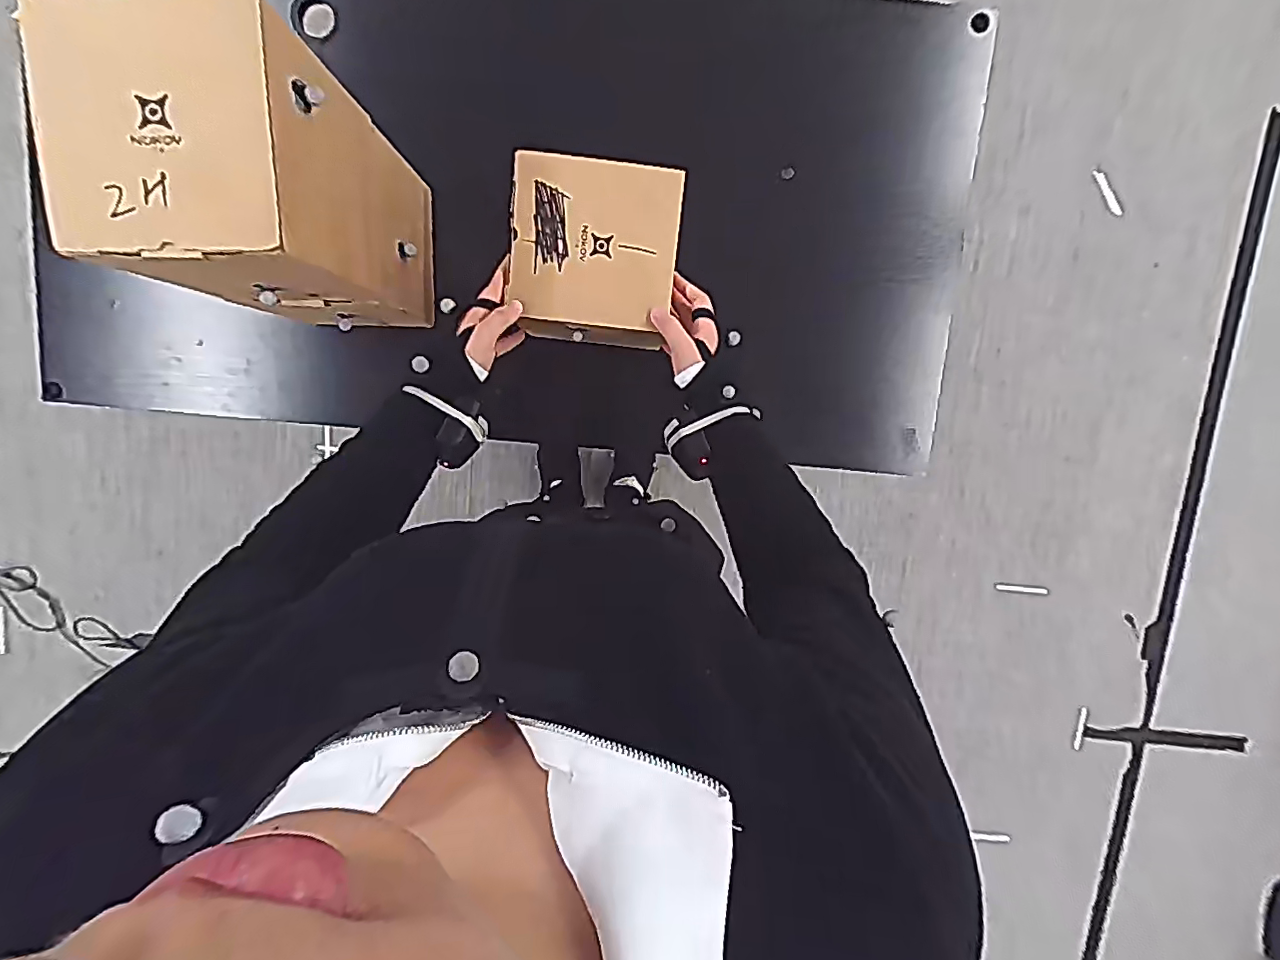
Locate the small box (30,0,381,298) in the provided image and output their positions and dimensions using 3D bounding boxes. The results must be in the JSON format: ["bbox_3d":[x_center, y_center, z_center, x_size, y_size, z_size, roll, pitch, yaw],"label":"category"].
[{"bbox_3d":[-0.345,-0.267,0.468,0.168,0.176,0.179,-1,97,-1],"label":"small box"}]

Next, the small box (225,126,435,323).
[{"bbox_3d":[-0.350,-0.283,0.633,0.168,0.176,0.179,1,98,-1],"label":"small box"}]

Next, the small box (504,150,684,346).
[{"bbox_3d":[-0.051,-0.259,0.643,0.179,0.176,0.168,6,97,-3],"label":"small box"}]
